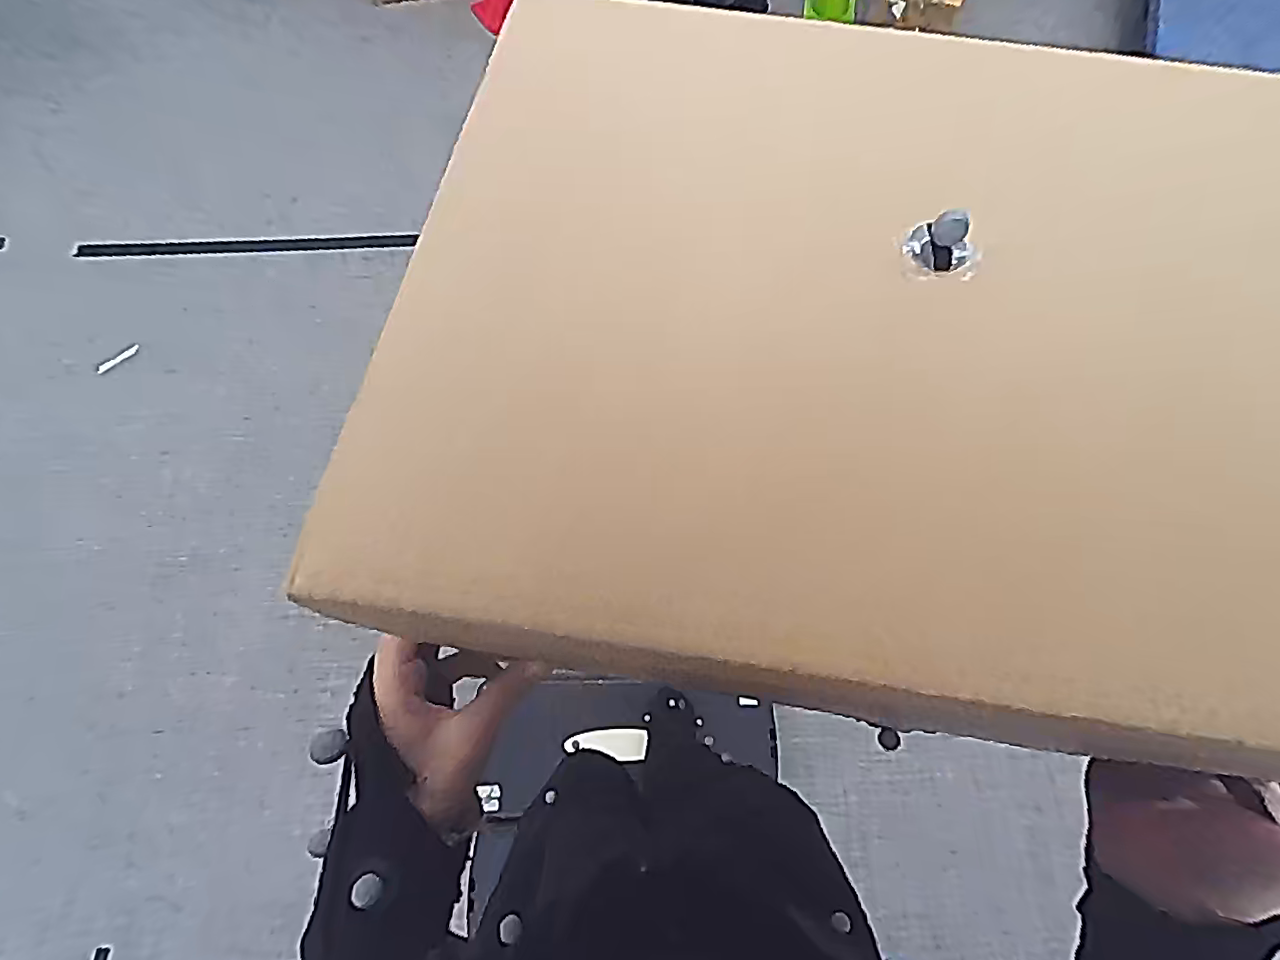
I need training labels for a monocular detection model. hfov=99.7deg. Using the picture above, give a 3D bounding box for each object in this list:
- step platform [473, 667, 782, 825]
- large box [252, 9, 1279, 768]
[{"bbox_3d":[-0.027,0.592,1.241,0.684,0.204,0.286,4,72,0],"label":"step platform"},{"bbox_3d":[0.093,-0.026,0.346,0.408,0.320,0.320,7,69,2],"label":"large box"}]
